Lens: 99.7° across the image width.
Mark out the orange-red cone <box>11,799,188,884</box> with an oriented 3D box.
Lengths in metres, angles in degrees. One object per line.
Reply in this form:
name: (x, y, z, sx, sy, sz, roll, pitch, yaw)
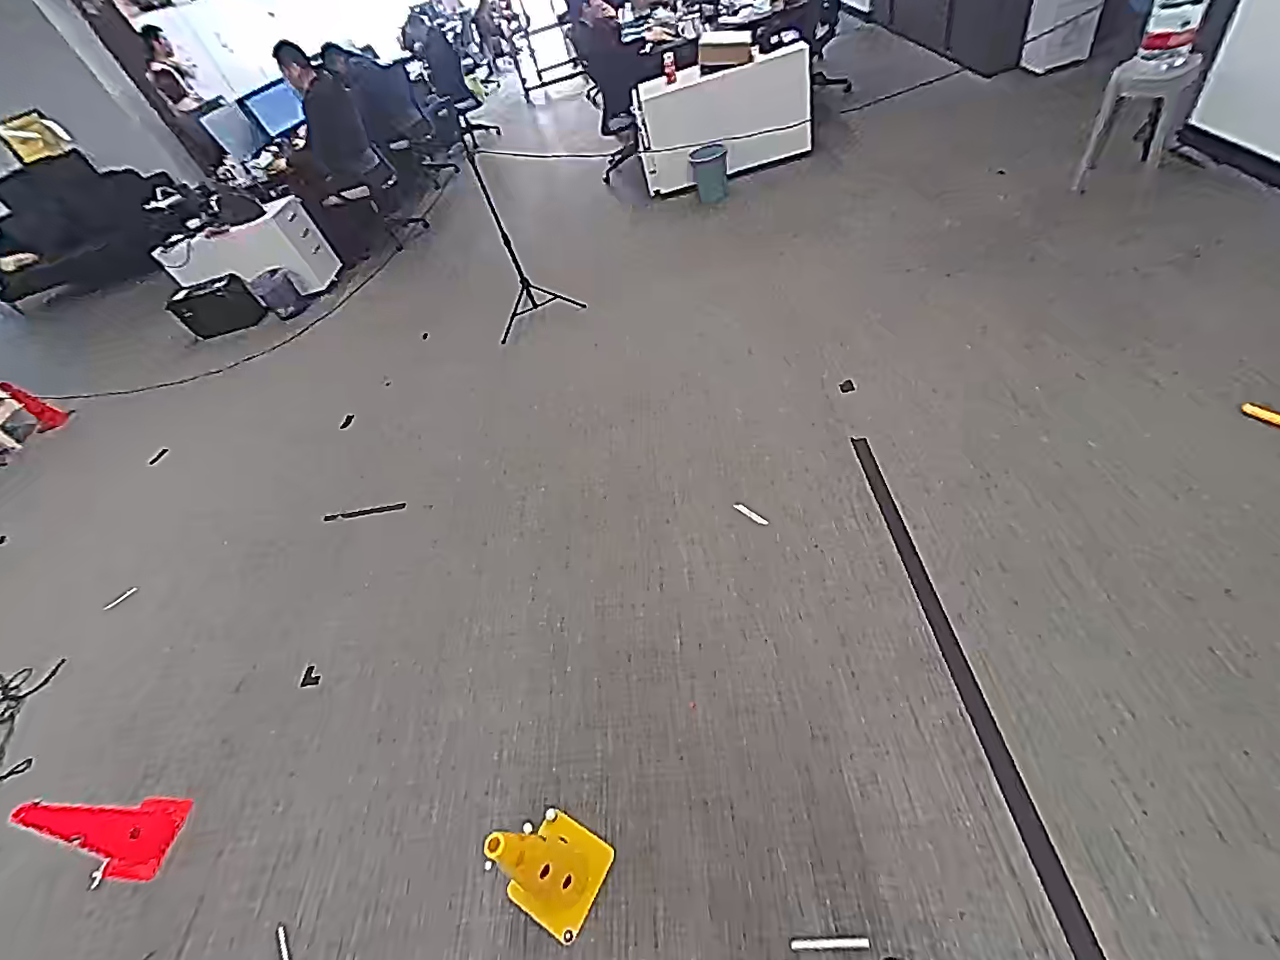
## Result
orange-red cone: (-1.479, 0.937, 1.452, 0.199, 0.360, 0.198, -5, 48, 14)
